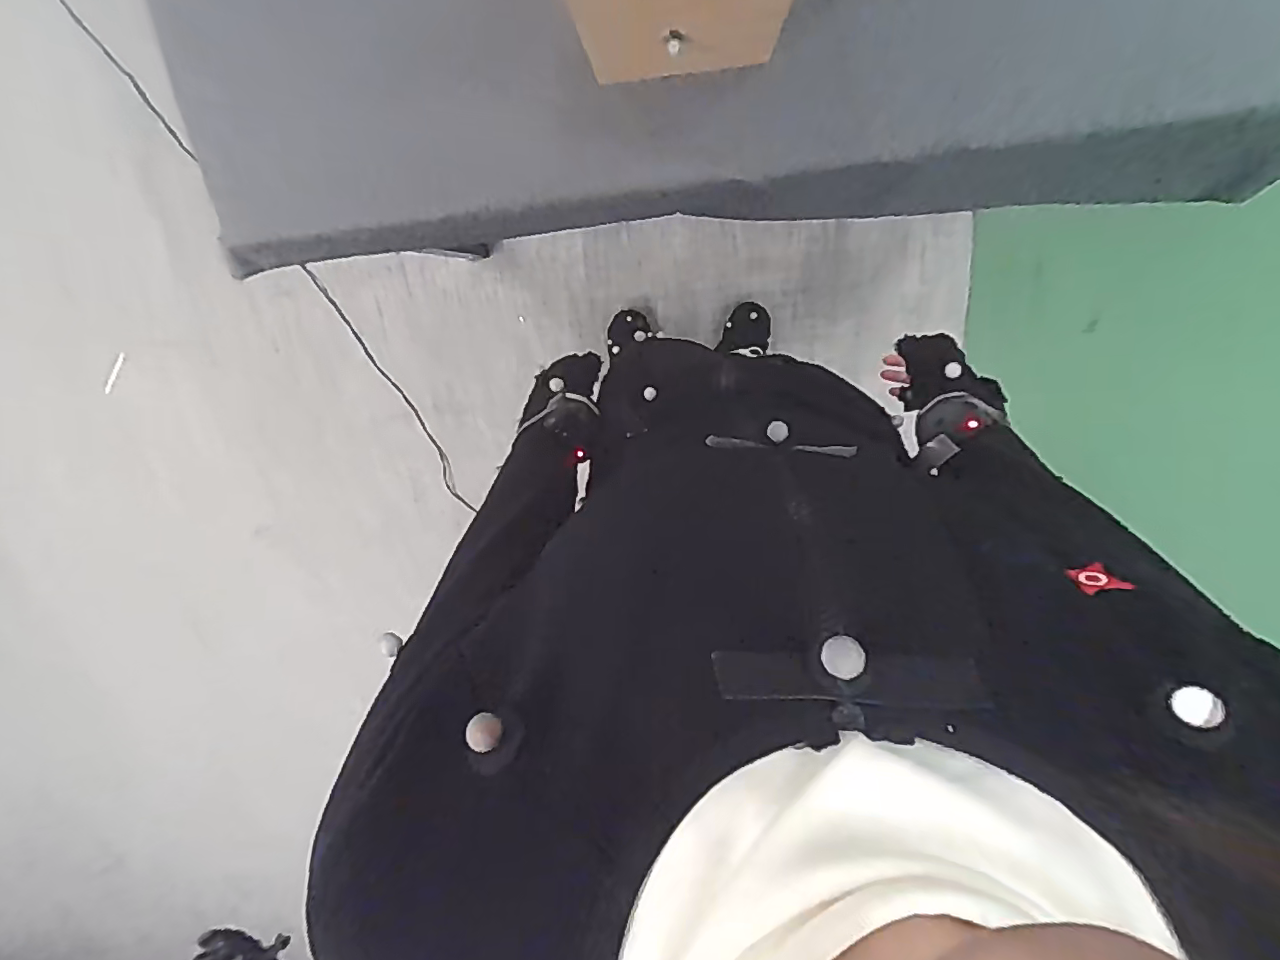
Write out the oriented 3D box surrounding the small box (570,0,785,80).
[{"bbox_3d":[0.032,-0.474,0.461,0.179,0.176,0.168,-3,108,7],"label":"small box"}]
